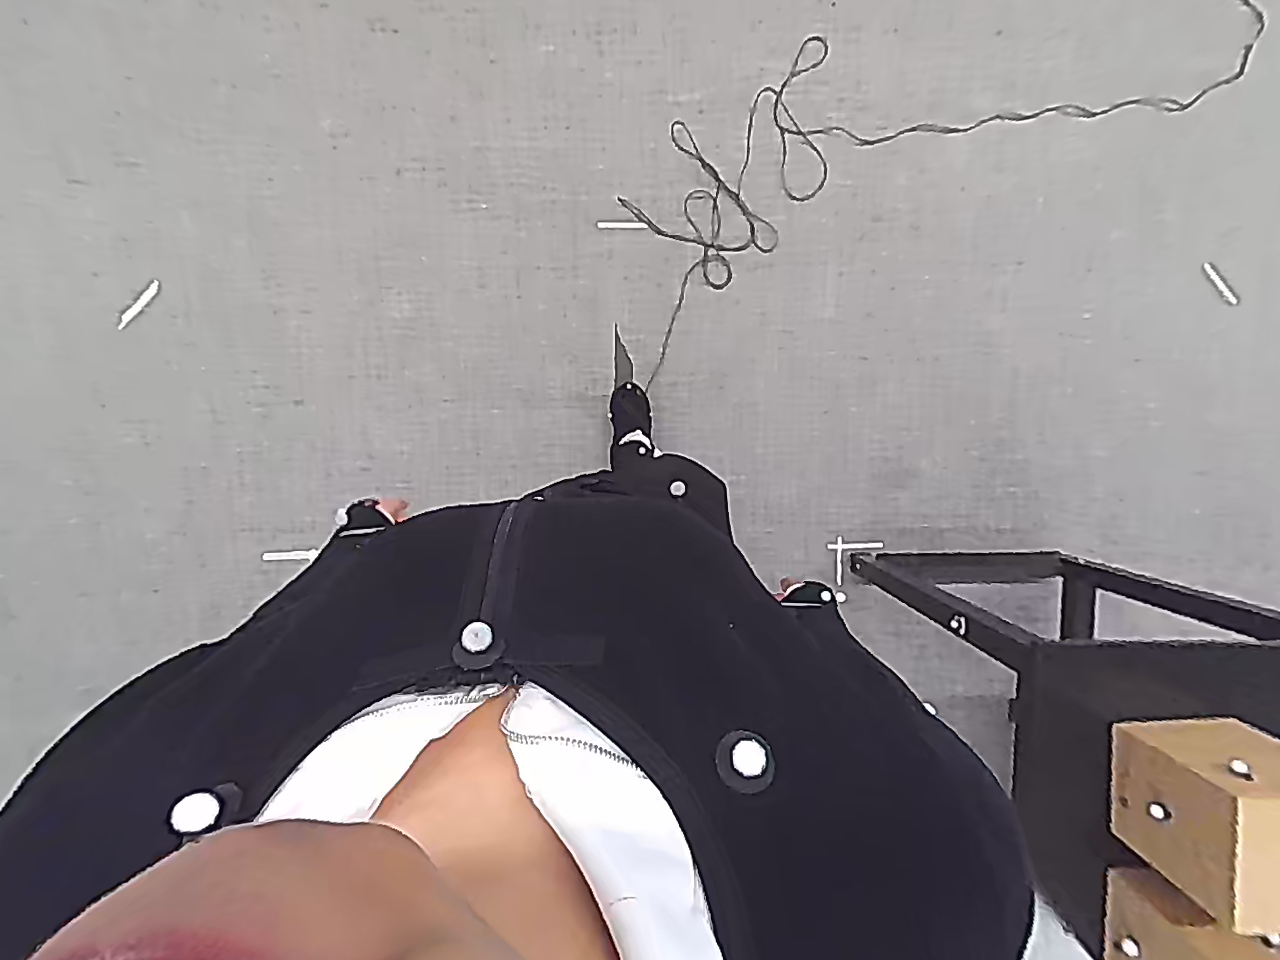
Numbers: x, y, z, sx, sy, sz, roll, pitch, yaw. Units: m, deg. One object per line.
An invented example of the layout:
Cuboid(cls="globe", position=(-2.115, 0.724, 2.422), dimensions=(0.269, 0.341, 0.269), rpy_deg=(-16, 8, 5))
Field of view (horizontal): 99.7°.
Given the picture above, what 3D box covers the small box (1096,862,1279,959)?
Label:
Cuboid(cls="small box", position=(0.768, 0.648, 0.721), dimensions=(0.179, 0.176, 0.168), rpy_deg=(0, 93, 0))
